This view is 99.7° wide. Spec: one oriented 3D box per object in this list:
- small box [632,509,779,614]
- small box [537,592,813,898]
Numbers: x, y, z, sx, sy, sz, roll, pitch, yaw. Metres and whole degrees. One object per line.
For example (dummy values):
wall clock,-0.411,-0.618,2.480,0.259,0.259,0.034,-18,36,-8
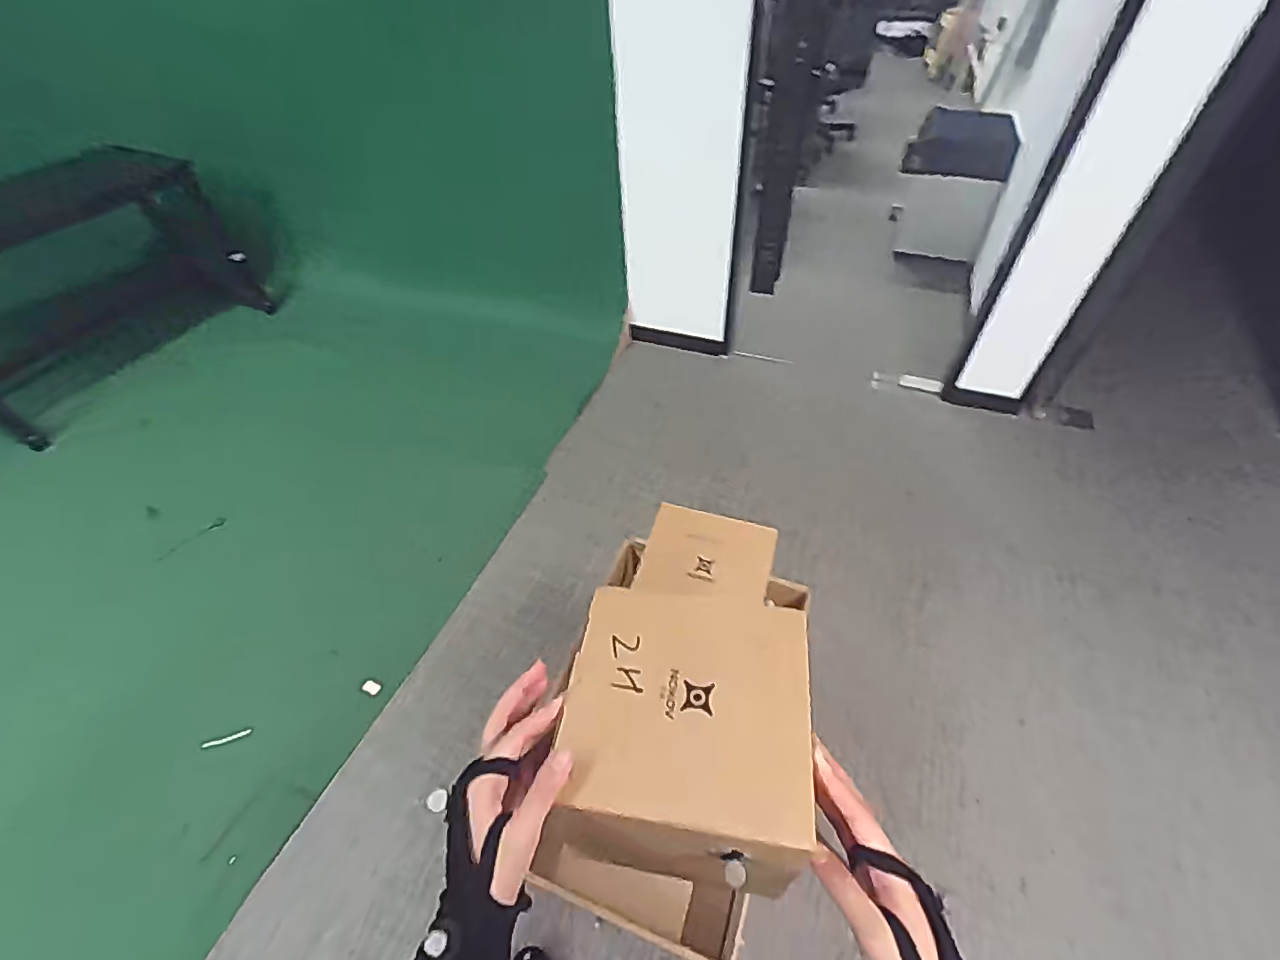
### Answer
small box,0.089,0.173,0.762,0.168,0.176,0.179,14,53,14
small box,0.035,0.218,0.446,0.179,0.176,0.168,5,43,9
